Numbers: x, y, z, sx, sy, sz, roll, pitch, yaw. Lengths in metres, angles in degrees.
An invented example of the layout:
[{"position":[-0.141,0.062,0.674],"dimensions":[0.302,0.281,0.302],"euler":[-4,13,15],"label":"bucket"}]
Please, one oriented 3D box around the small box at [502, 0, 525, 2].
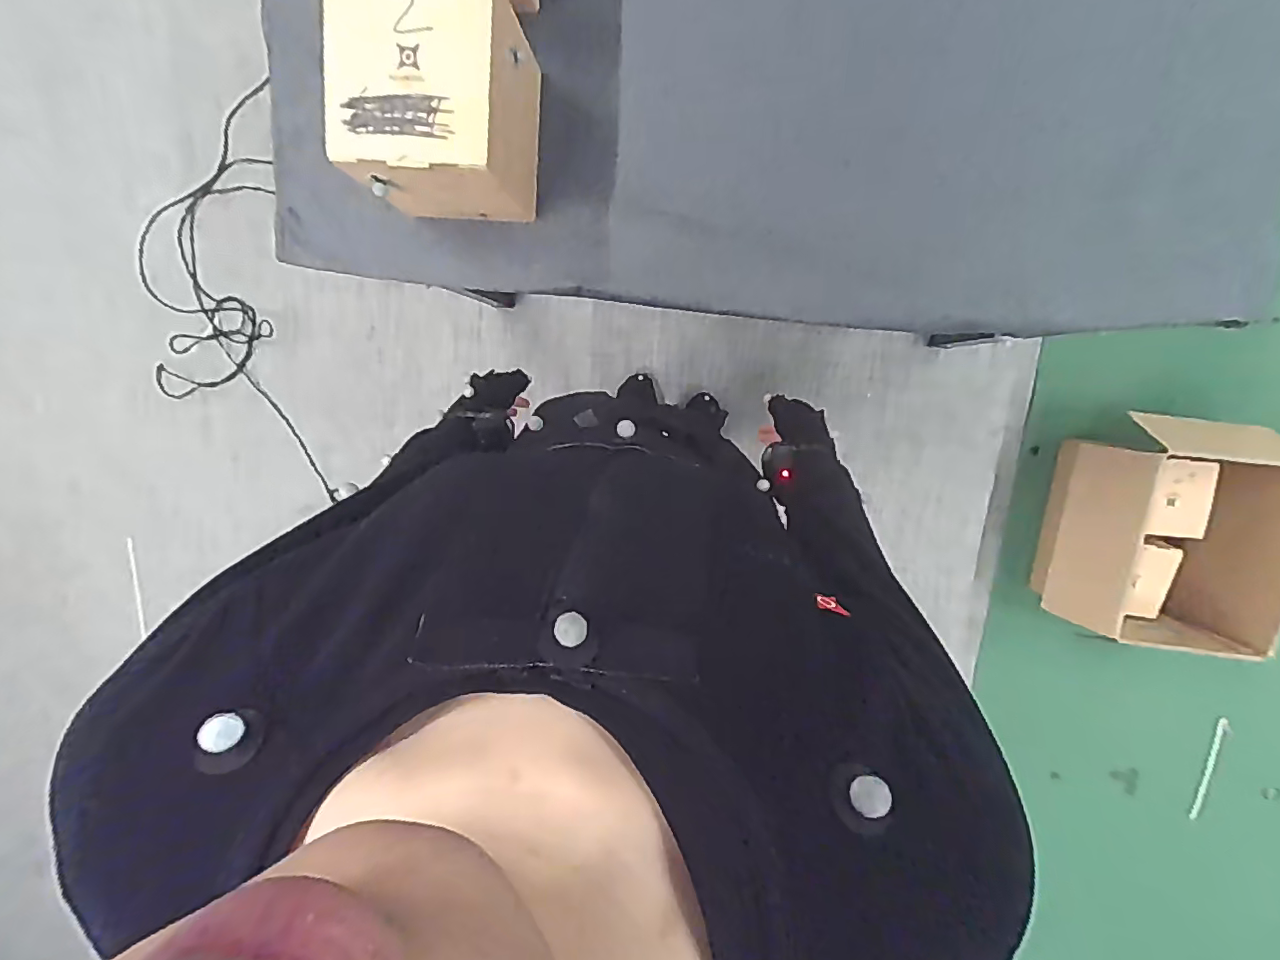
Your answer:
[{"position":[-0.204,-0.635,0.550],"dimensions":[0.168,0.176,0.179],"euler":[4,101,4],"label":"small box"}]
